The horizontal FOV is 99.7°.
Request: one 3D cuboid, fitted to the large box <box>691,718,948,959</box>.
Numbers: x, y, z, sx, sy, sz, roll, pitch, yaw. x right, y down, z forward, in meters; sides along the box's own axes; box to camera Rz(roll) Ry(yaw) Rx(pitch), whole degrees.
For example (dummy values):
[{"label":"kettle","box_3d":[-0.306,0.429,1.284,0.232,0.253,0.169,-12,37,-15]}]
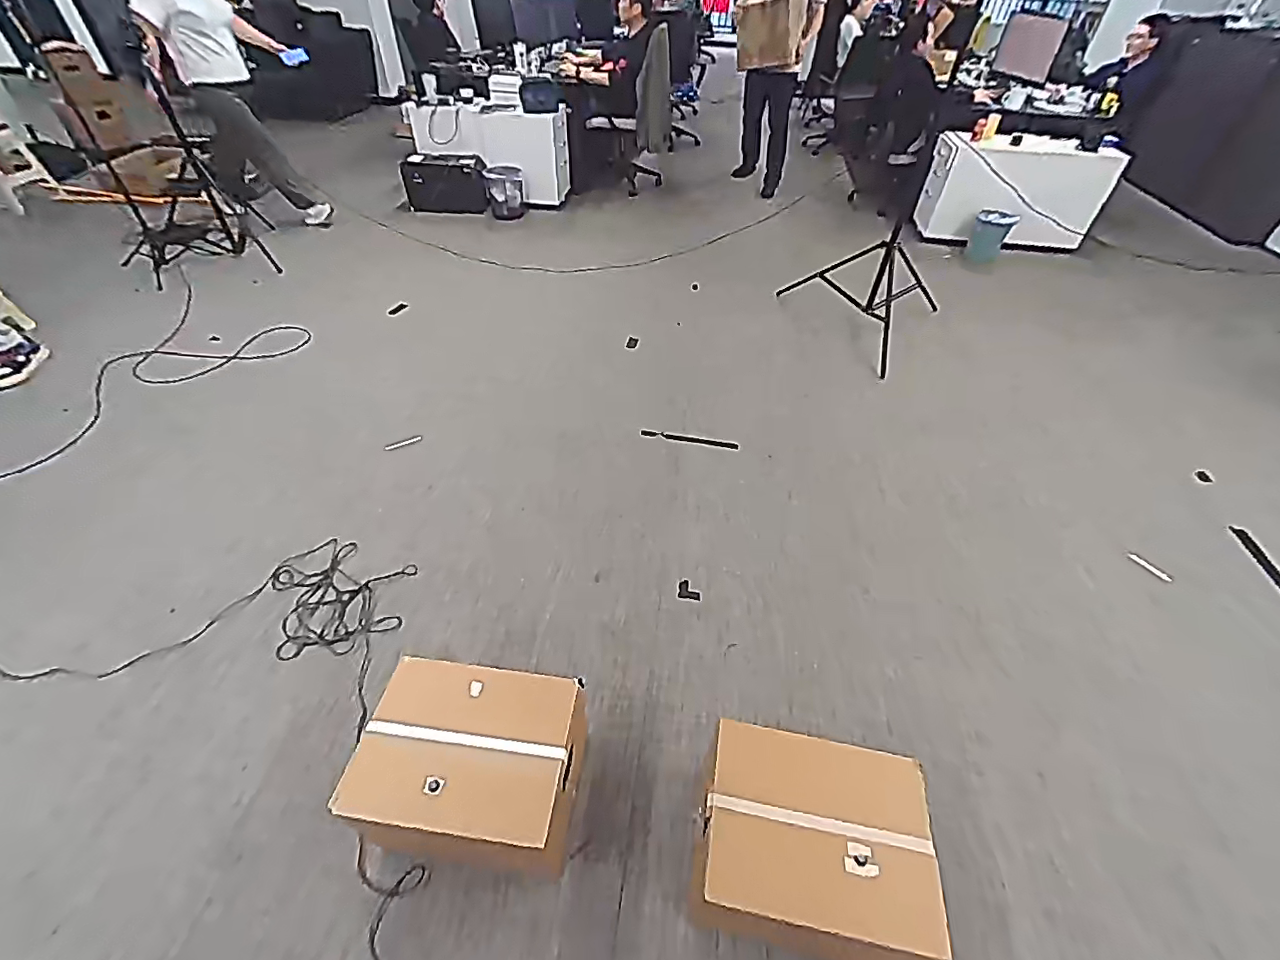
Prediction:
[{"label":"large box","box_3d":[0.330,0.739,1.111,0.408,0.320,0.320,10,45,6]}]
